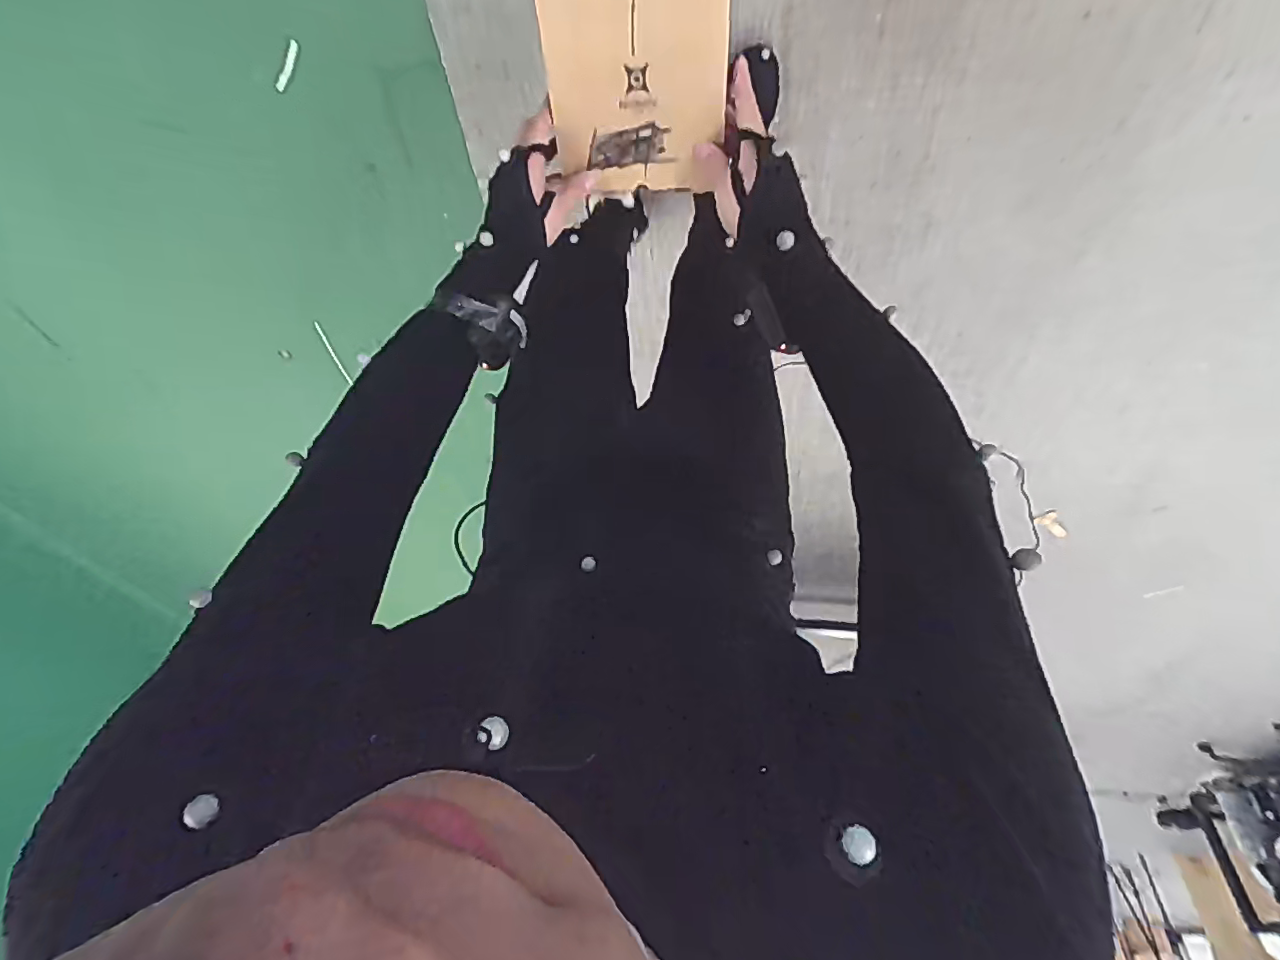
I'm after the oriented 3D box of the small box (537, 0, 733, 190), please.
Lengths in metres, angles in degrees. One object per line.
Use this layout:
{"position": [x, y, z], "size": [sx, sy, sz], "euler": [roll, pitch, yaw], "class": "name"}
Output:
{"position": [0.006, -0.415, 0.545], "size": [0.168, 0.176, 0.179], "euler": [2, 135, 6], "class": "small box"}
